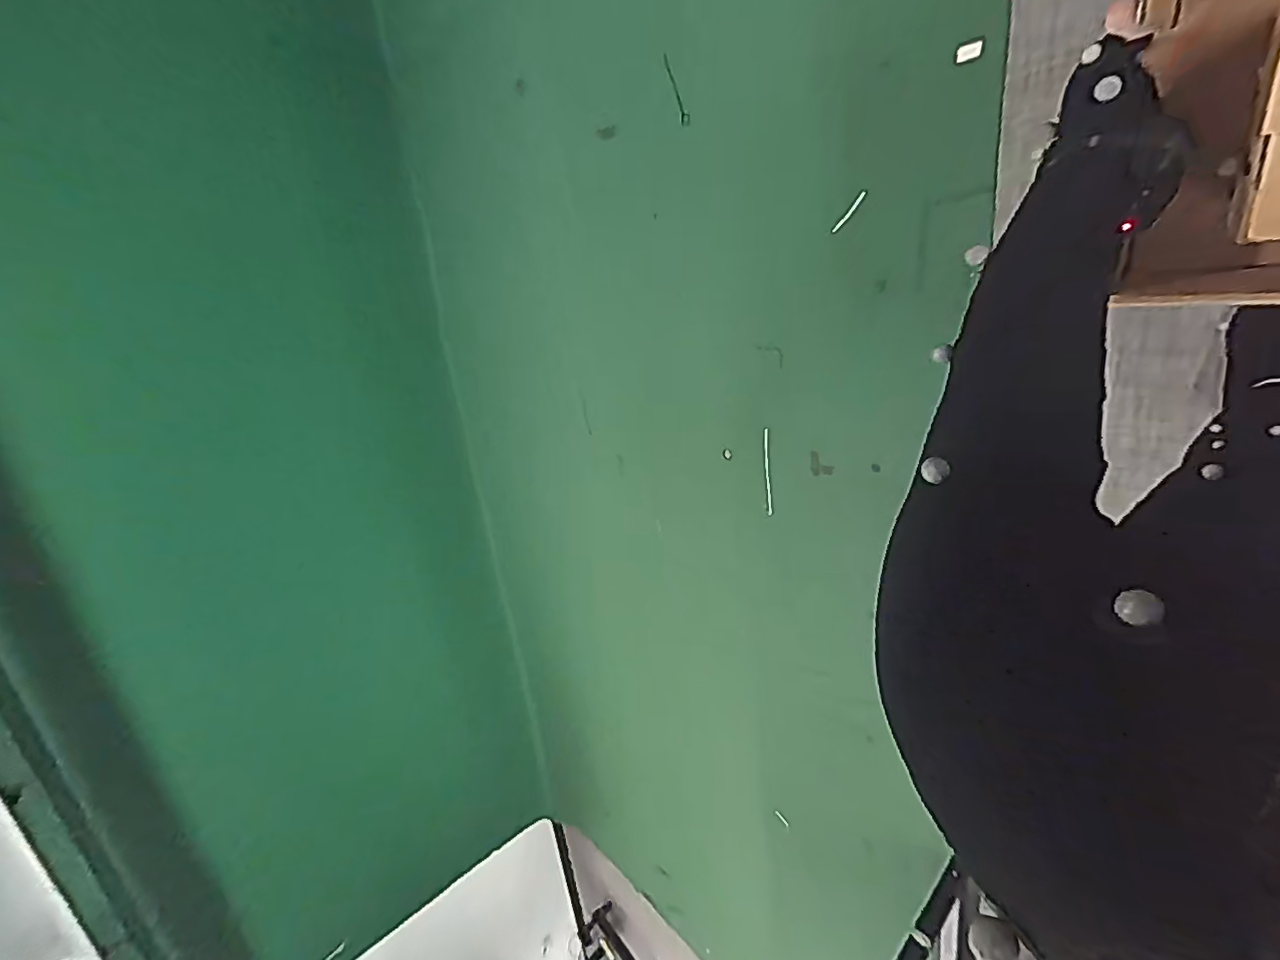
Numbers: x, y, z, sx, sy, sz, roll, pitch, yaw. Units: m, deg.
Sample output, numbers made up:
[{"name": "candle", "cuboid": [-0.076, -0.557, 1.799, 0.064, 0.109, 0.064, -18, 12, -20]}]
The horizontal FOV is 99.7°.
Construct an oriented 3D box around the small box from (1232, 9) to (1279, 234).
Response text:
[{"name": "small box", "cuboid": [0.484, -0.245, 0.309, 0.179, 0.176, 0.168, 11, 120, 41]}]
